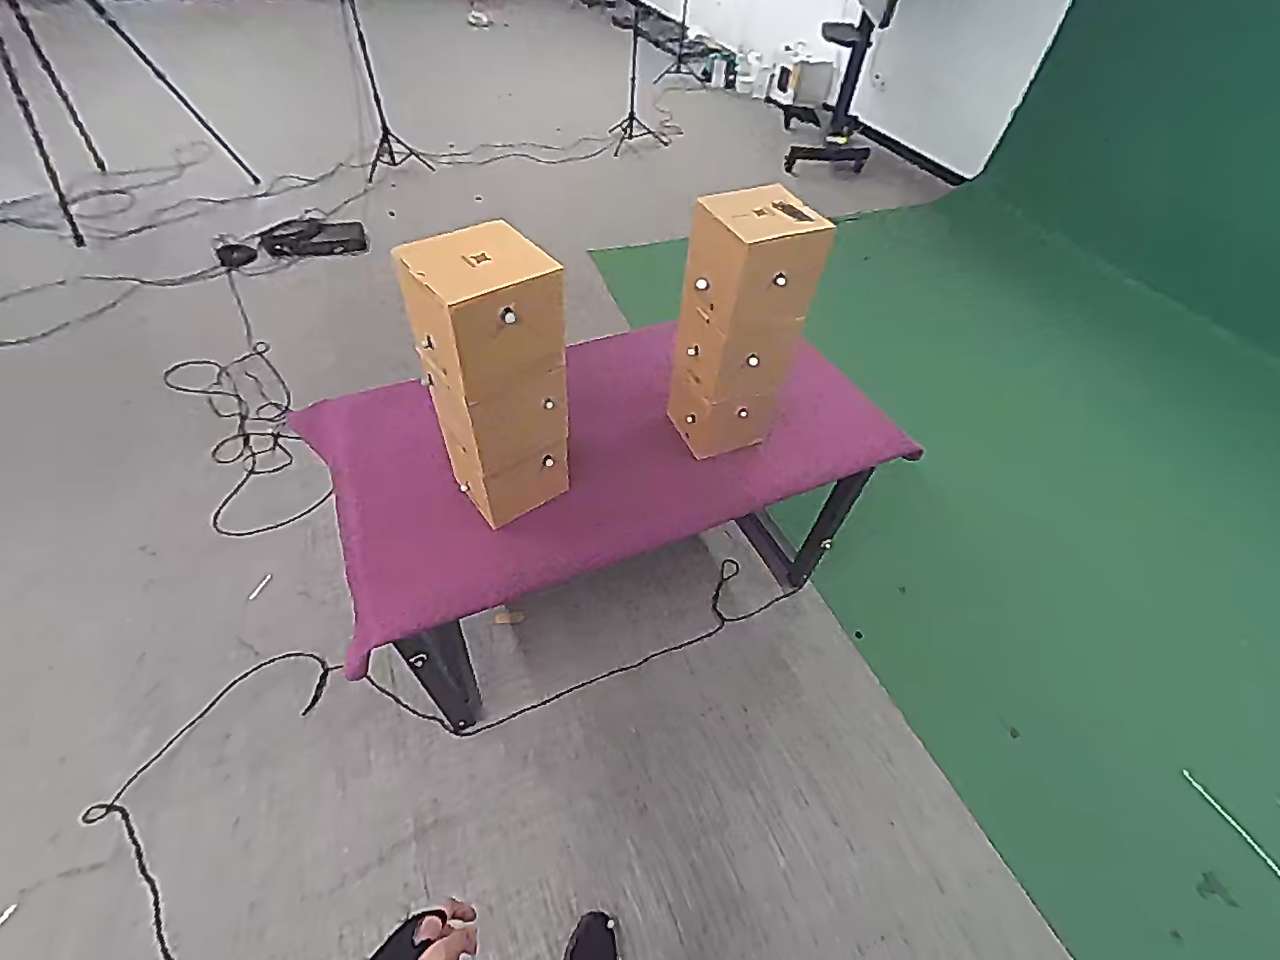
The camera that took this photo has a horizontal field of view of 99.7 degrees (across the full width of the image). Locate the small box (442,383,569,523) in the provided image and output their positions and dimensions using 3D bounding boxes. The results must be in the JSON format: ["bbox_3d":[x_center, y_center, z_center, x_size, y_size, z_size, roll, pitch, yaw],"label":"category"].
[{"bbox_3d":[-0.253,-0.051,1.046,0.179,0.176,0.168,-30,59,-25],"label":"small box"}]

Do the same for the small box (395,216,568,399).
[{"bbox_3d":[-0.222,-0.251,0.790,0.179,0.176,0.168,-31,61,-27],"label":"small box"}]

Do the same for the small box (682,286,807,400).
[{"bbox_3d":[0.192,-0.282,1.065,0.179,0.176,0.168,-18,56,-17],"label":"small box"}]

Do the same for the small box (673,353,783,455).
[{"bbox_3d":[0.182,-0.178,1.191,0.179,0.176,0.168,-16,54,-17],"label":"small box"}]

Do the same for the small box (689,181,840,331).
[{"bbox_3d":[0.204,-0.387,0.938,0.179,0.176,0.168,-19,56,-18],"label":"small box"}]
